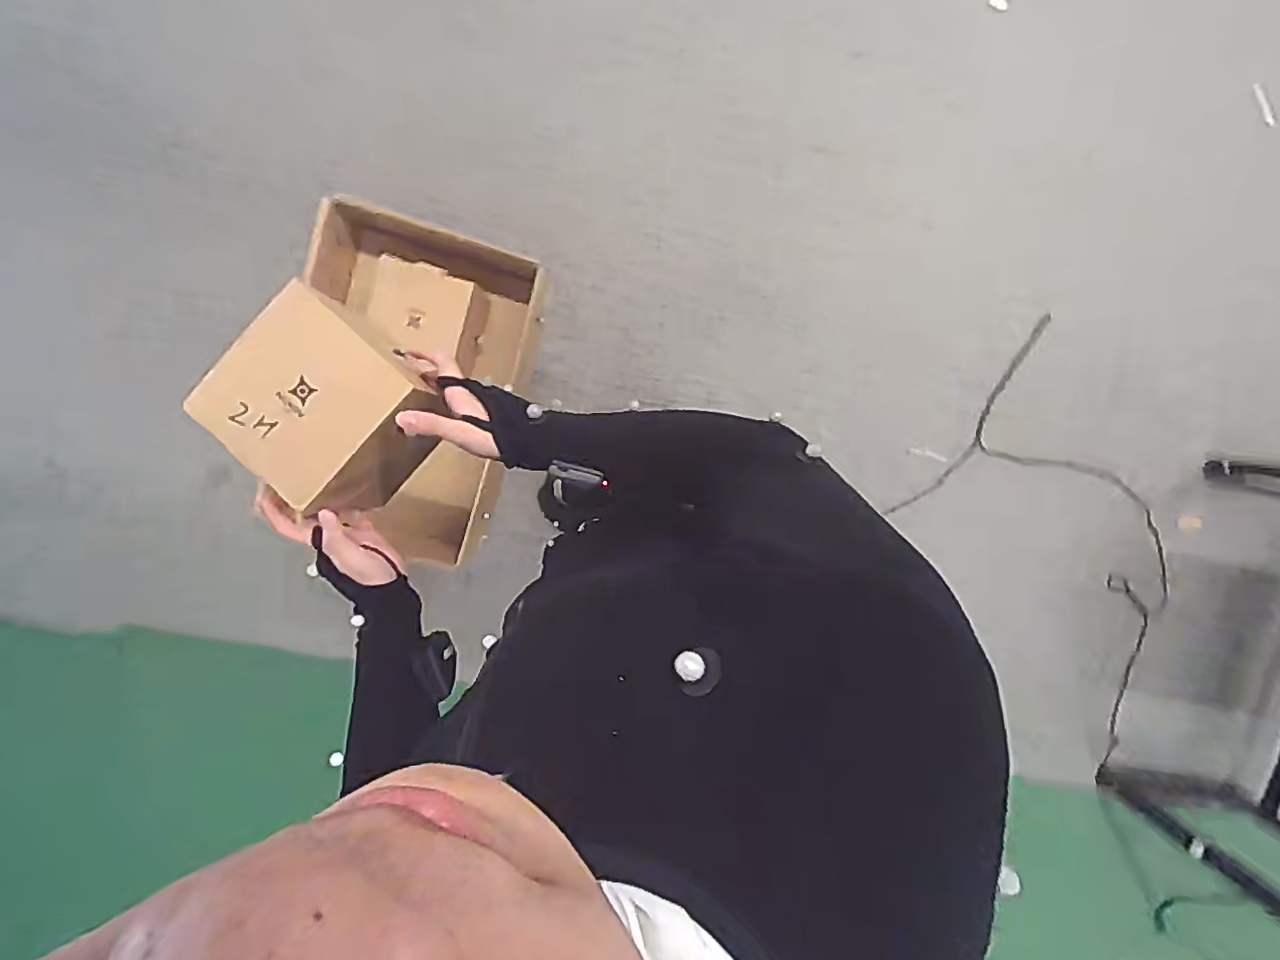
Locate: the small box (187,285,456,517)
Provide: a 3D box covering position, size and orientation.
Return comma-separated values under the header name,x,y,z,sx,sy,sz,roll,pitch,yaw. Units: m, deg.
name,x,y,z,sx,sy,sz,roll,pitch,yaw
small box,-0.337,-0.080,0.618,0.168,0.176,0.179,41,91,1
